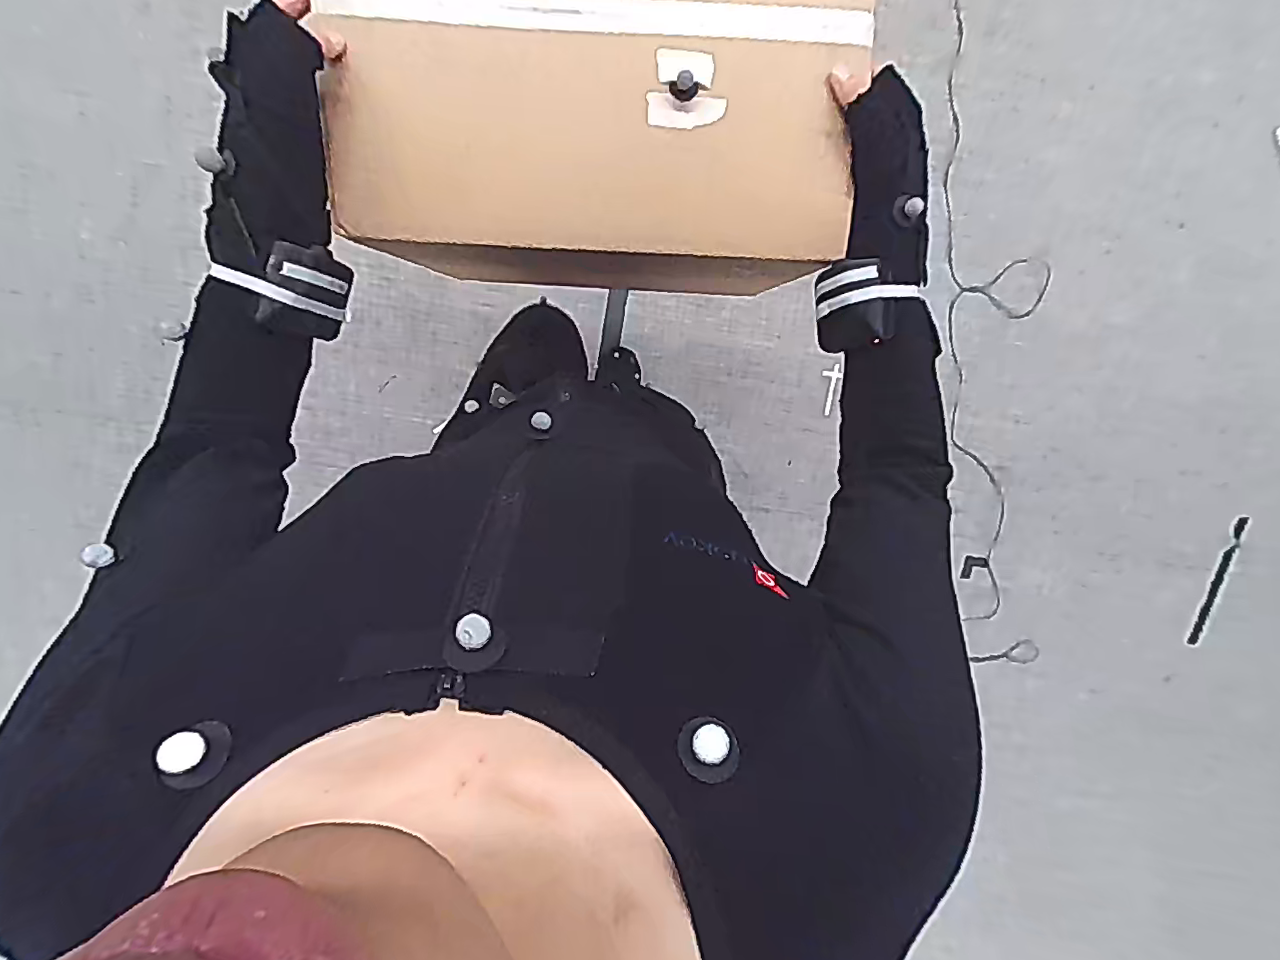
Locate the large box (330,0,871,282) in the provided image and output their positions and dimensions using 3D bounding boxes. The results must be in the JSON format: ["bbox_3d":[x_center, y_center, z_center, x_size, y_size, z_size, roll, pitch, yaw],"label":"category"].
[{"bbox_3d":[-0.032,-0.383,0.541,0.408,0.320,0.320,2,105,-2],"label":"large box"}]
